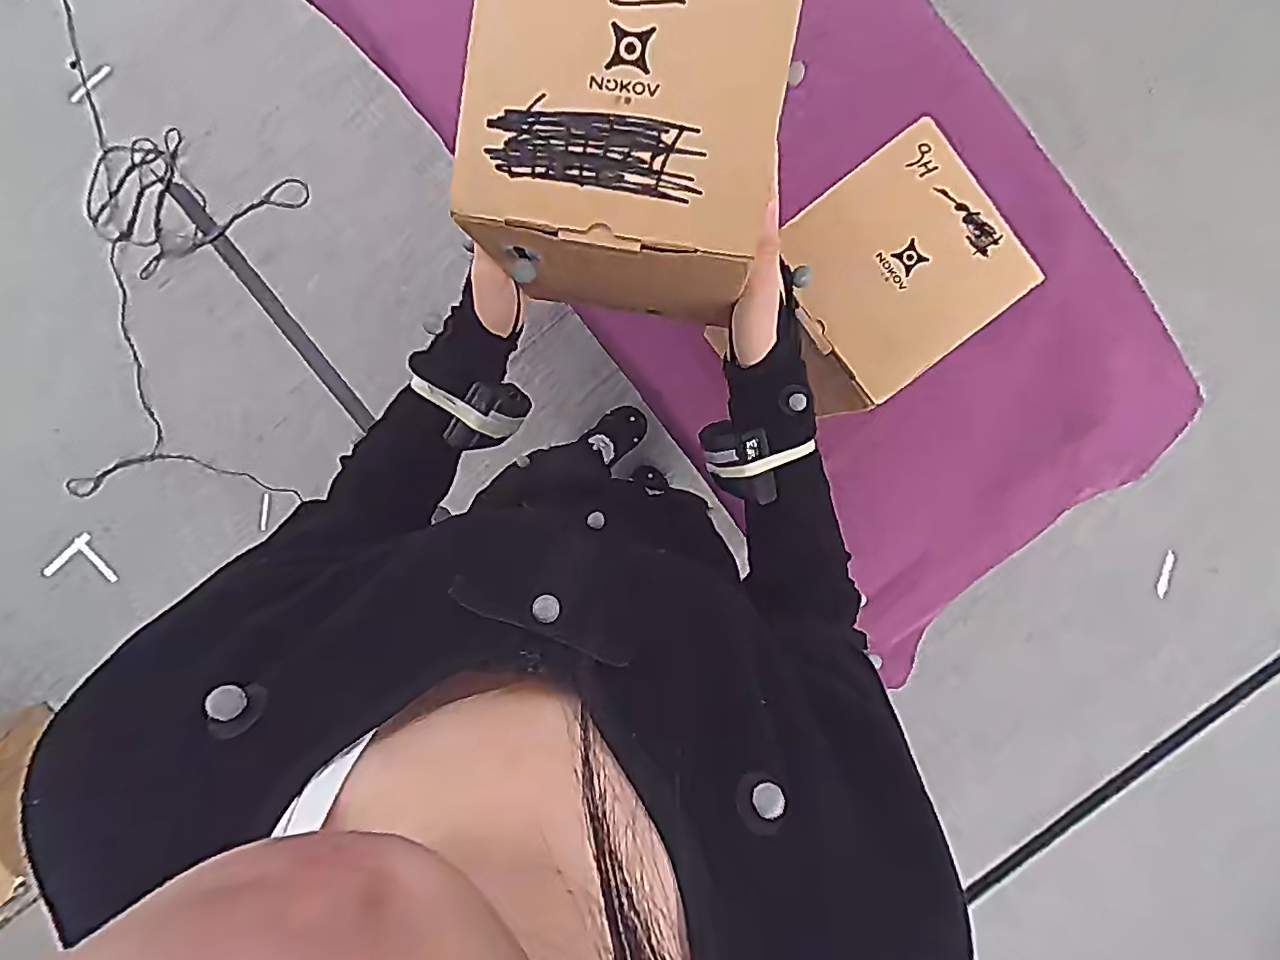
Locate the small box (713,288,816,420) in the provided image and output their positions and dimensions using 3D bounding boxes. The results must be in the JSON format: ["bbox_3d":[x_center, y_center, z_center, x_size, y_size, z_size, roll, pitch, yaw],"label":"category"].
[{"bbox_3d":[0.207,-0.189,0.682,0.179,0.176,0.168,-38,93,2],"label":"small box"}]

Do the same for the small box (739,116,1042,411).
[{"bbox_3d":[0.212,-0.181,0.518,0.179,0.176,0.168,-38,93,2],"label":"small box"}]
